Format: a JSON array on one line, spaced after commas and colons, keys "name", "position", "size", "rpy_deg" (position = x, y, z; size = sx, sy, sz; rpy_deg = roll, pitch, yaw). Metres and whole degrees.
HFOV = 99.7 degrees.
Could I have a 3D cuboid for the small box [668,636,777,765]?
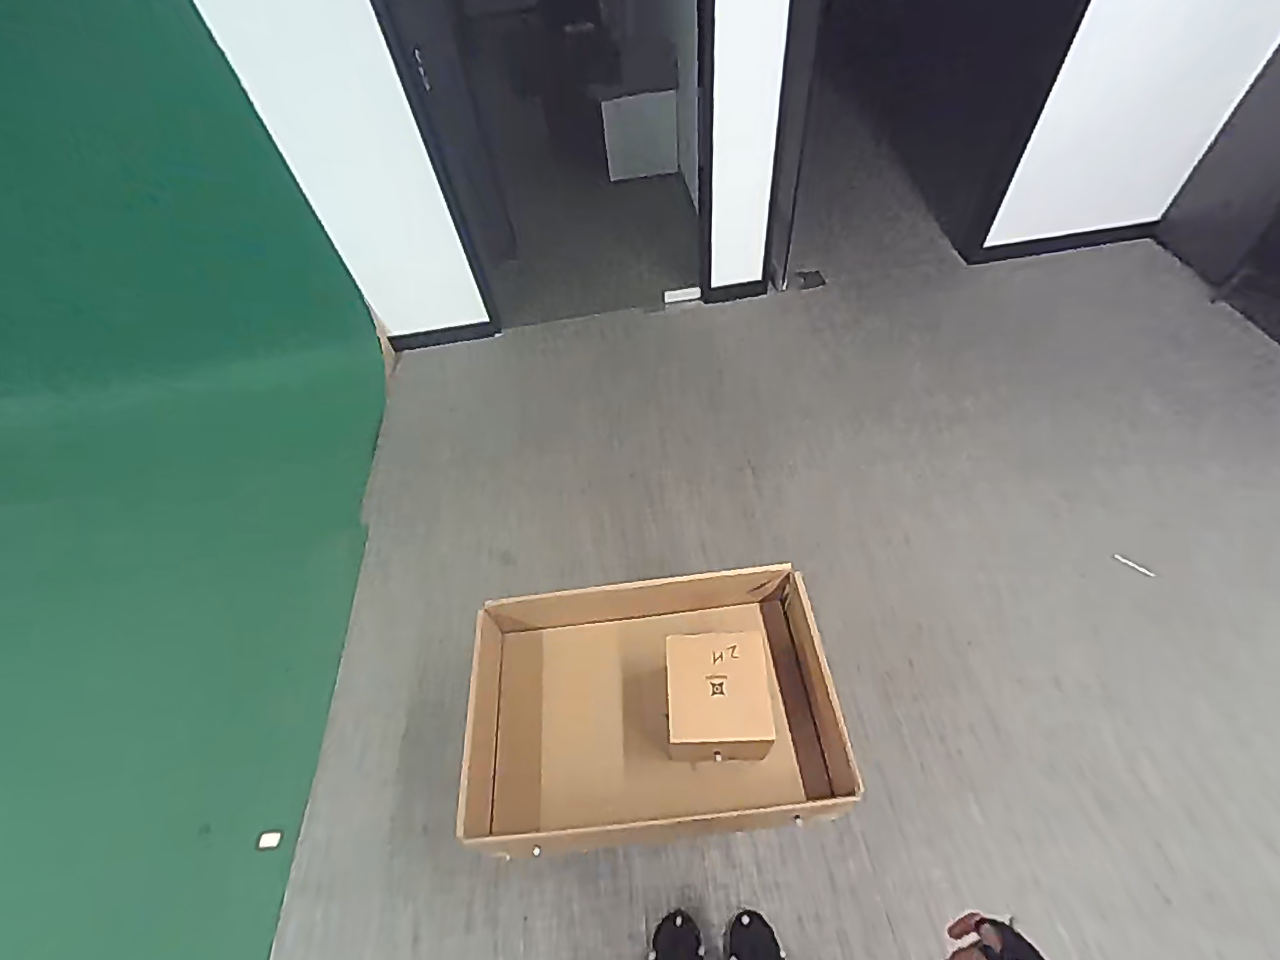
[{"name": "small box", "position": [0.137, 0.385, 0.933], "size": [0.168, 0.176, 0.179], "rpy_deg": [-3, 53, 4]}]
